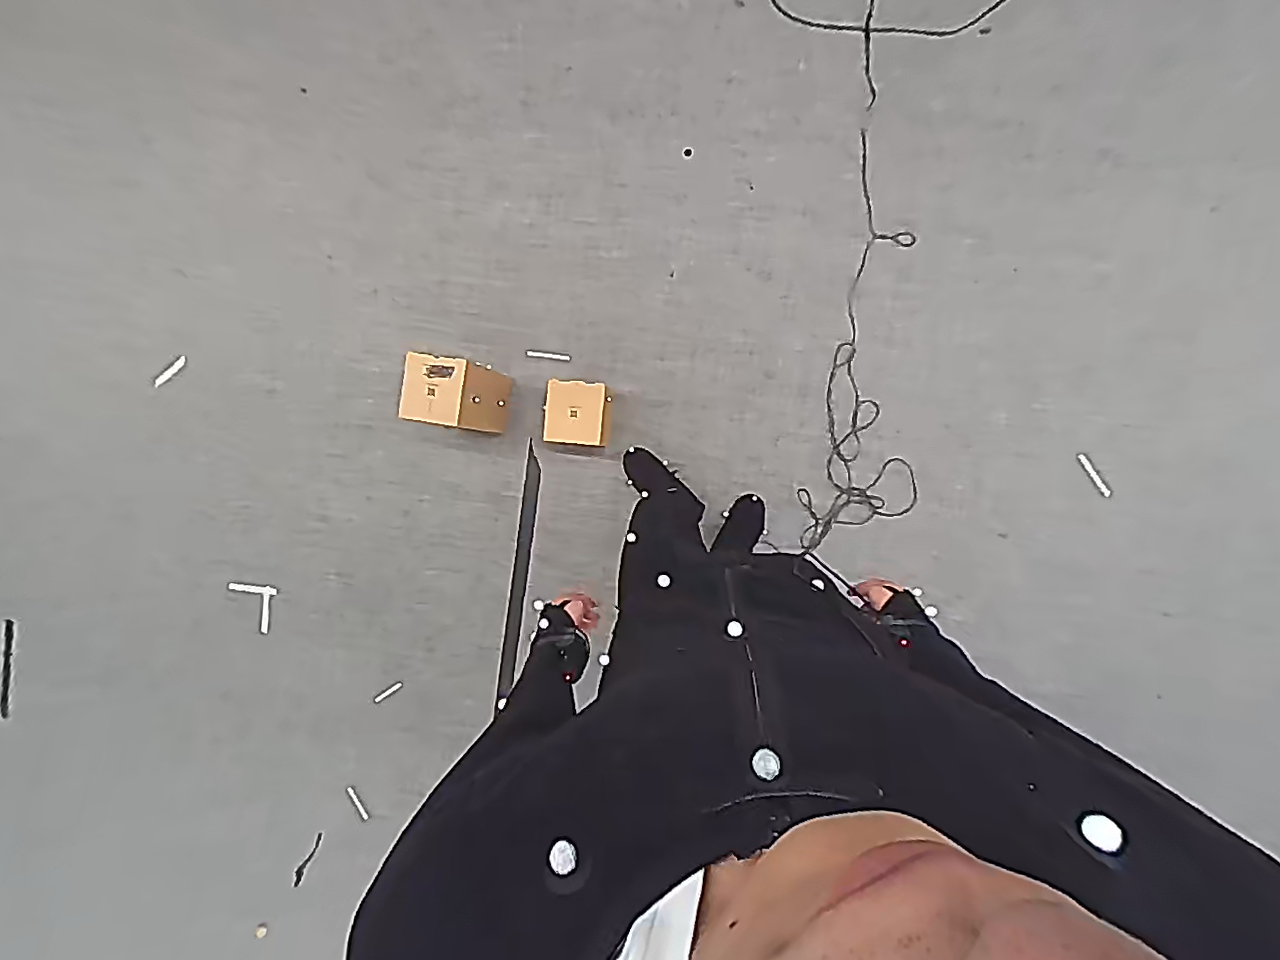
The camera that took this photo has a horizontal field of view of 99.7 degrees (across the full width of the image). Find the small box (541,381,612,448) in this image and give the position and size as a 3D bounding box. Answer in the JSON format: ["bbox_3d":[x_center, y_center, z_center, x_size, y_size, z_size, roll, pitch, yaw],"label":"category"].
[{"bbox_3d":[-0.181,-0.187,1.591,0.168,0.176,0.179,6,92,6],"label":"small box"}]

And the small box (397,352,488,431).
[{"bbox_3d":[-0.525,-0.234,1.461,0.168,0.176,0.179,10,93,7],"label":"small box"}]
